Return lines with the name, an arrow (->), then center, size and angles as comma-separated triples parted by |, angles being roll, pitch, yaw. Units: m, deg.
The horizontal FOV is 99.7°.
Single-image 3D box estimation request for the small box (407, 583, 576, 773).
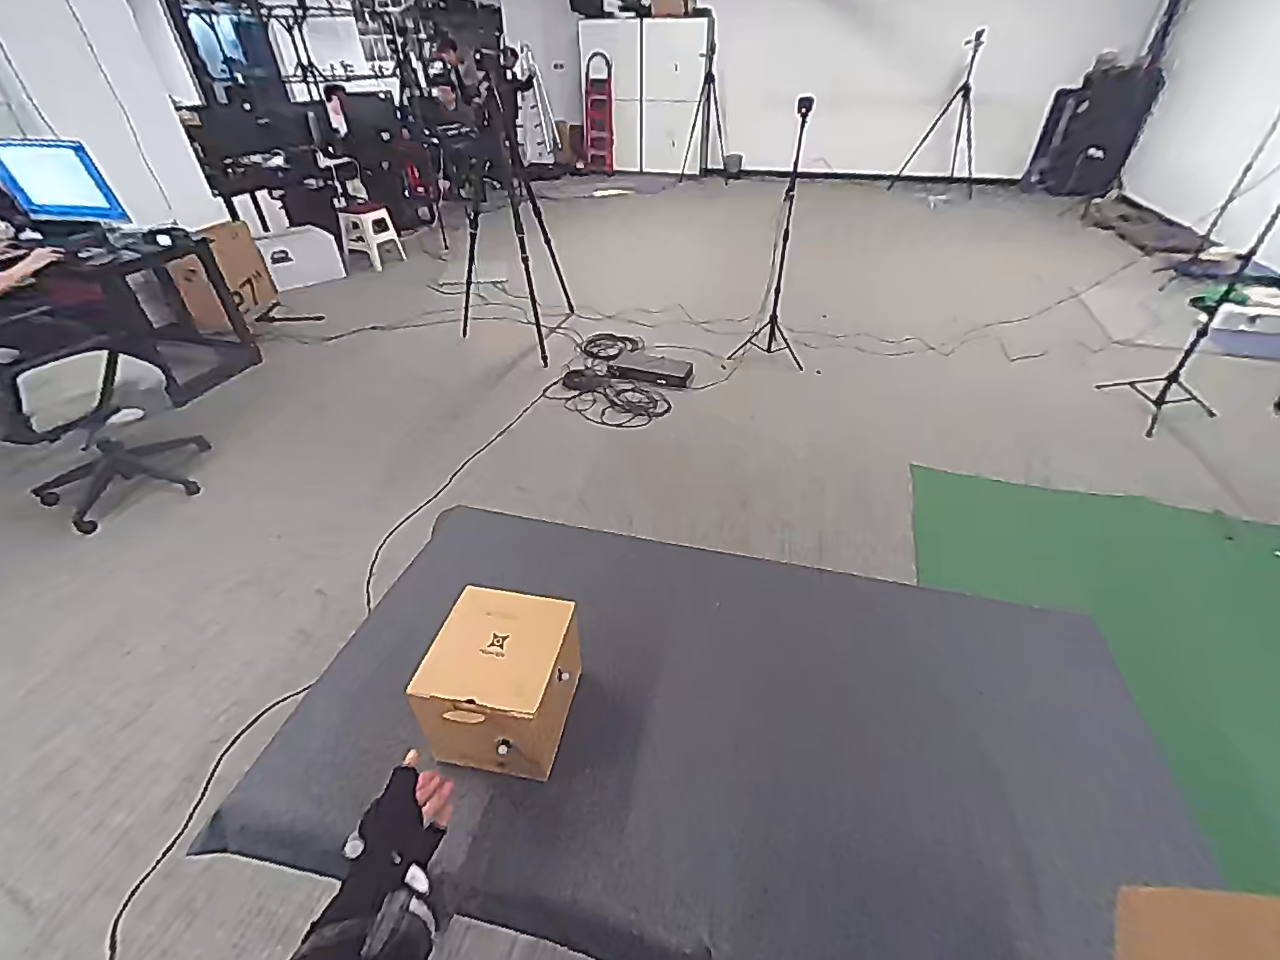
small box -> -0.188, 0.274, 0.752 | 0.168, 0.176, 0.179 | 8, 37, 7
